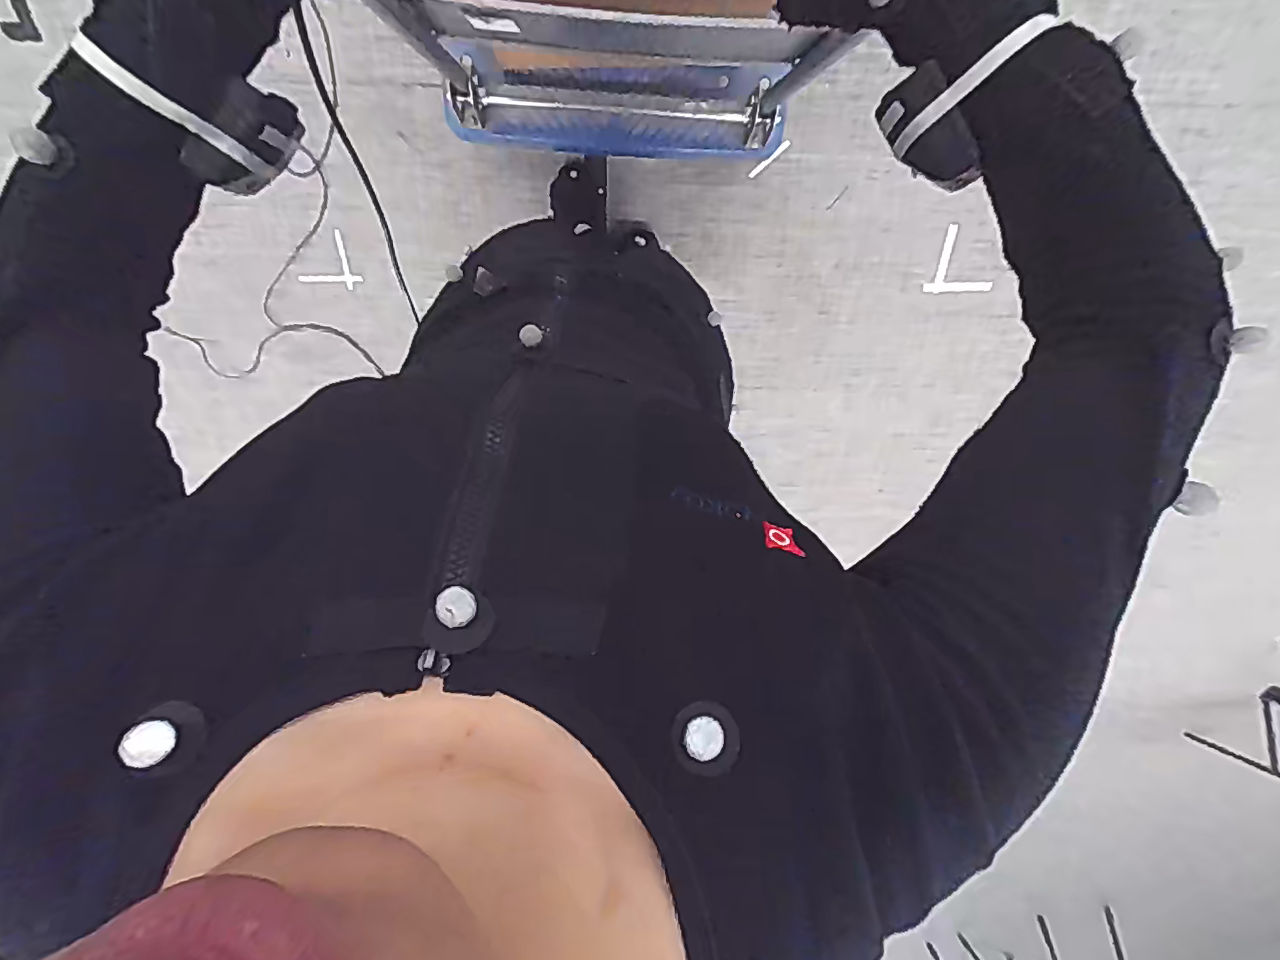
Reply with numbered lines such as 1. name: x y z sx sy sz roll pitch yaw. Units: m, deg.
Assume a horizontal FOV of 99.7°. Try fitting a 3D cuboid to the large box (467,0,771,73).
1. large box: -0.034 -0.778 0.710 0.408 0.320 0.320 -4 112 -2
